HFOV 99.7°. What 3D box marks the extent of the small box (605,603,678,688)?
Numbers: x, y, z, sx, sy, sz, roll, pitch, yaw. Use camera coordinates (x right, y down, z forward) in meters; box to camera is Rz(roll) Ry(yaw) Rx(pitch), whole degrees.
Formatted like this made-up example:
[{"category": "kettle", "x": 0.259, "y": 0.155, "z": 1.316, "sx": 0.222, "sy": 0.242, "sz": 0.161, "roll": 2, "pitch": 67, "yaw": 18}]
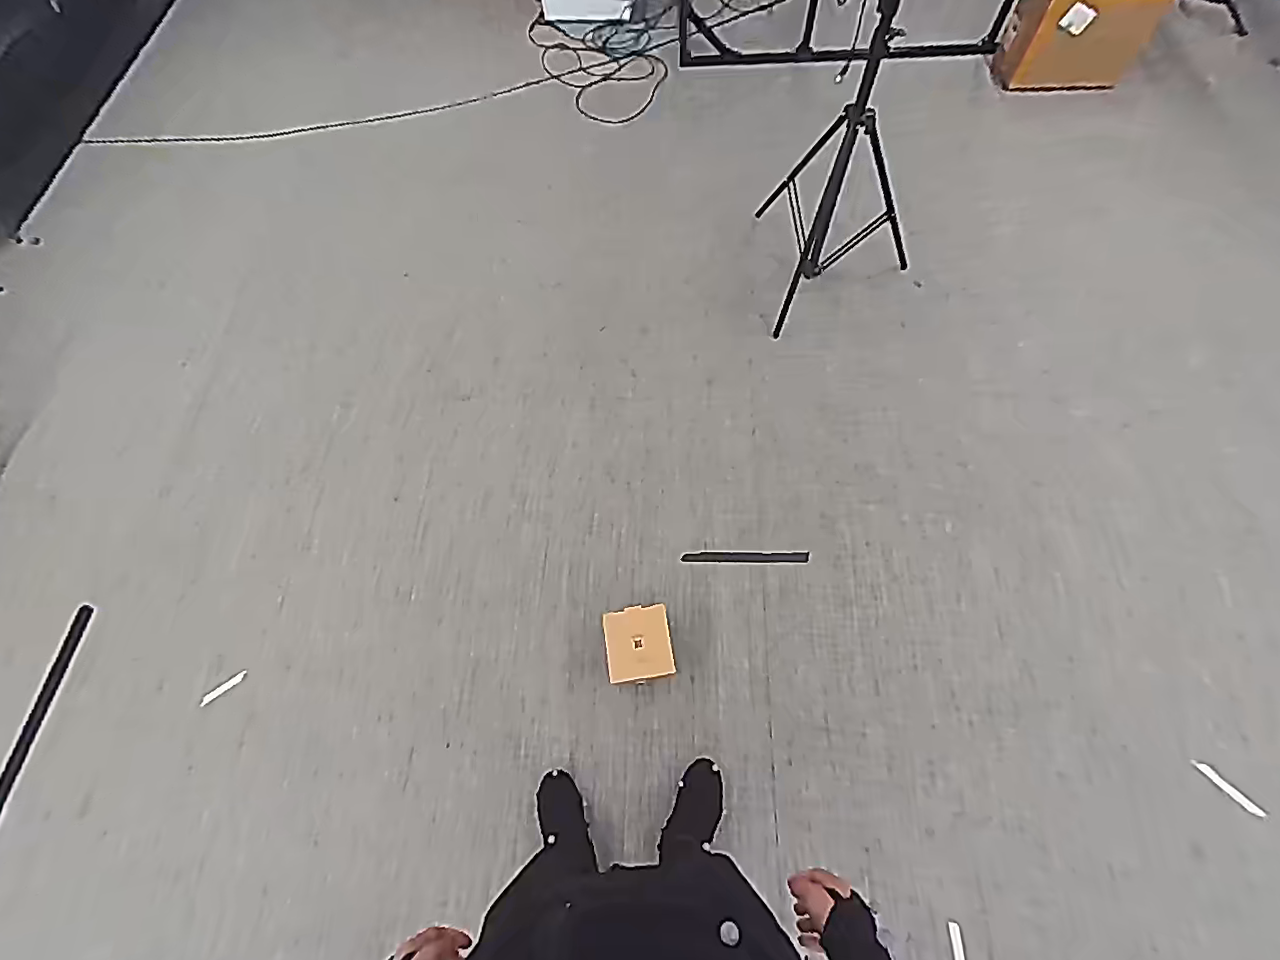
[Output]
[{"category": "small box", "x": 0.005, "y": 0.439, "z": 1.424, "sx": 0.168, "sy": 0.176, "sz": 0.179, "roll": -10, "pitch": 65, "yaw": 0}]
